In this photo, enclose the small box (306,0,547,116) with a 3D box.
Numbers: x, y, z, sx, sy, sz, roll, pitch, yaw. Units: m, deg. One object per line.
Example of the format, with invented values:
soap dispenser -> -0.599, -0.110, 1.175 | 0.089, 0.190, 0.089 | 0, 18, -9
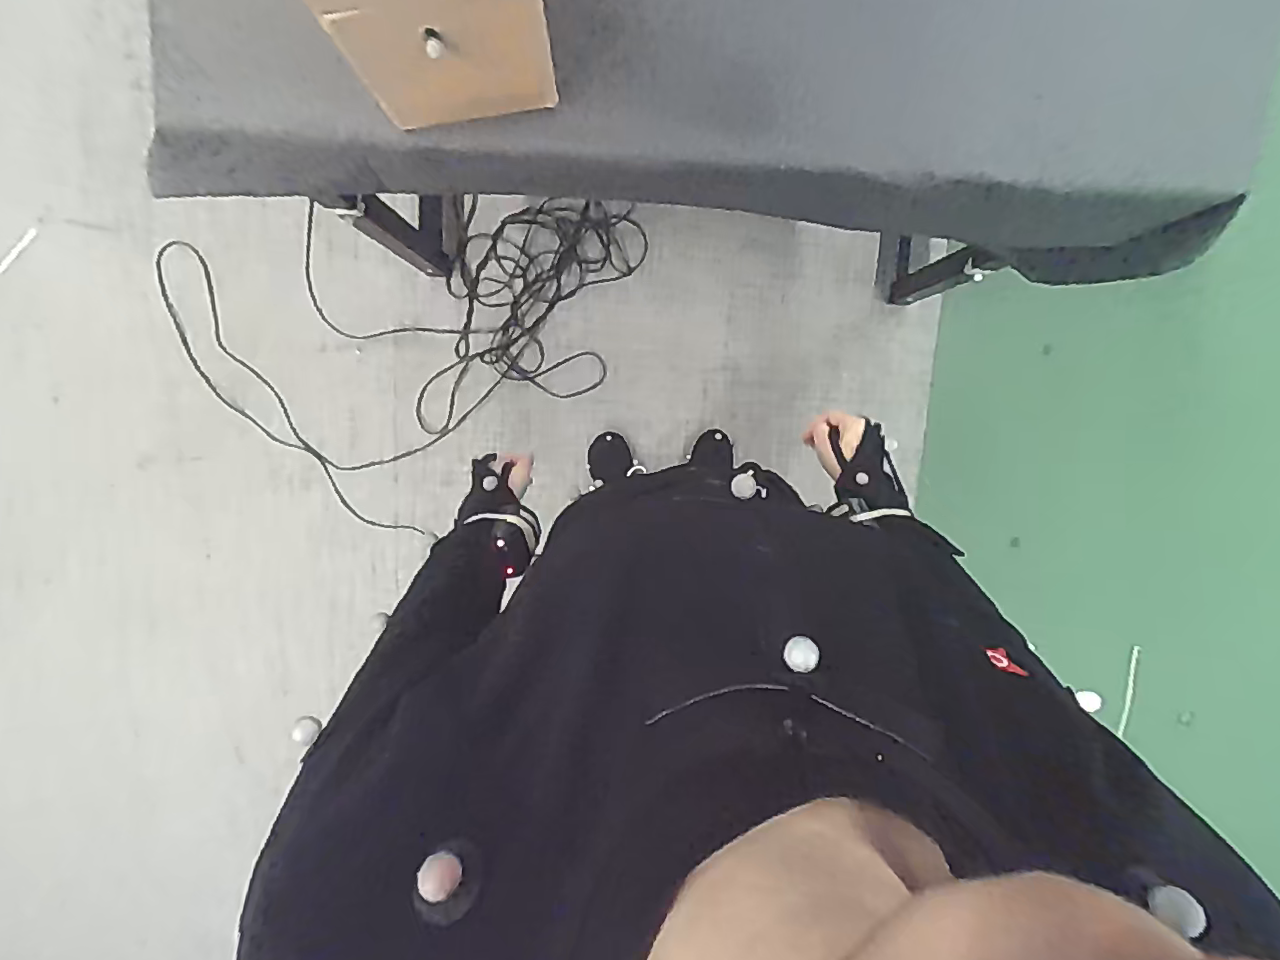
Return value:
small box -> -0.185, -0.465, 0.485 | 0.179, 0.176, 0.168 | -9, 97, 0
